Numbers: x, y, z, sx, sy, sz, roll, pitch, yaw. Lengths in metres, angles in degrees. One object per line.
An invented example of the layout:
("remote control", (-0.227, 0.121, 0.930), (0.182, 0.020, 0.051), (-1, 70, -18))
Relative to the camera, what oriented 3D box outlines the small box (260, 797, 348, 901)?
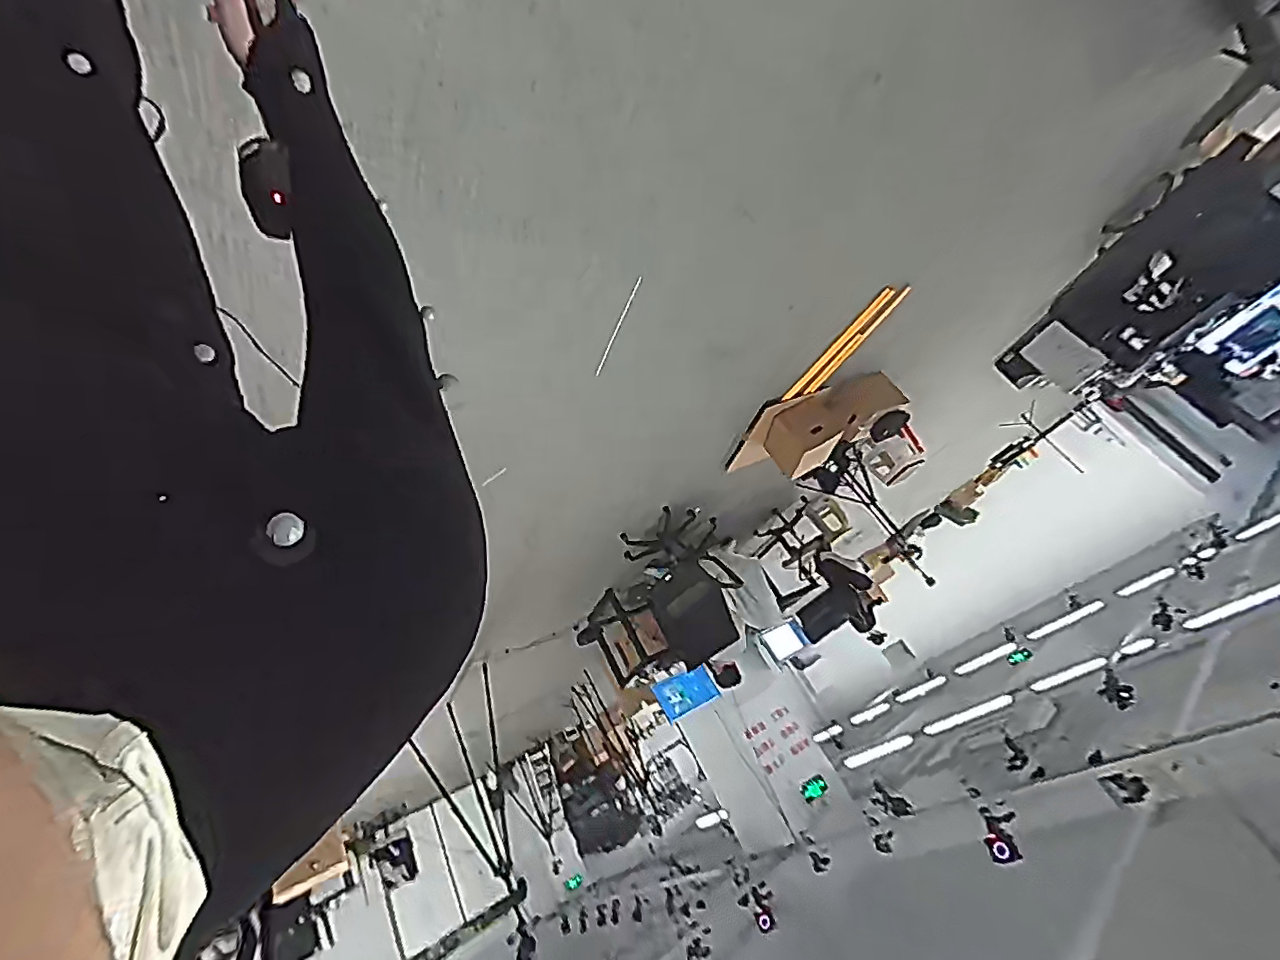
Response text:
("small box", (-0.875, 0.961, 1.415), (0.168, 0.176, 0.179), (-13, 150, -34))
